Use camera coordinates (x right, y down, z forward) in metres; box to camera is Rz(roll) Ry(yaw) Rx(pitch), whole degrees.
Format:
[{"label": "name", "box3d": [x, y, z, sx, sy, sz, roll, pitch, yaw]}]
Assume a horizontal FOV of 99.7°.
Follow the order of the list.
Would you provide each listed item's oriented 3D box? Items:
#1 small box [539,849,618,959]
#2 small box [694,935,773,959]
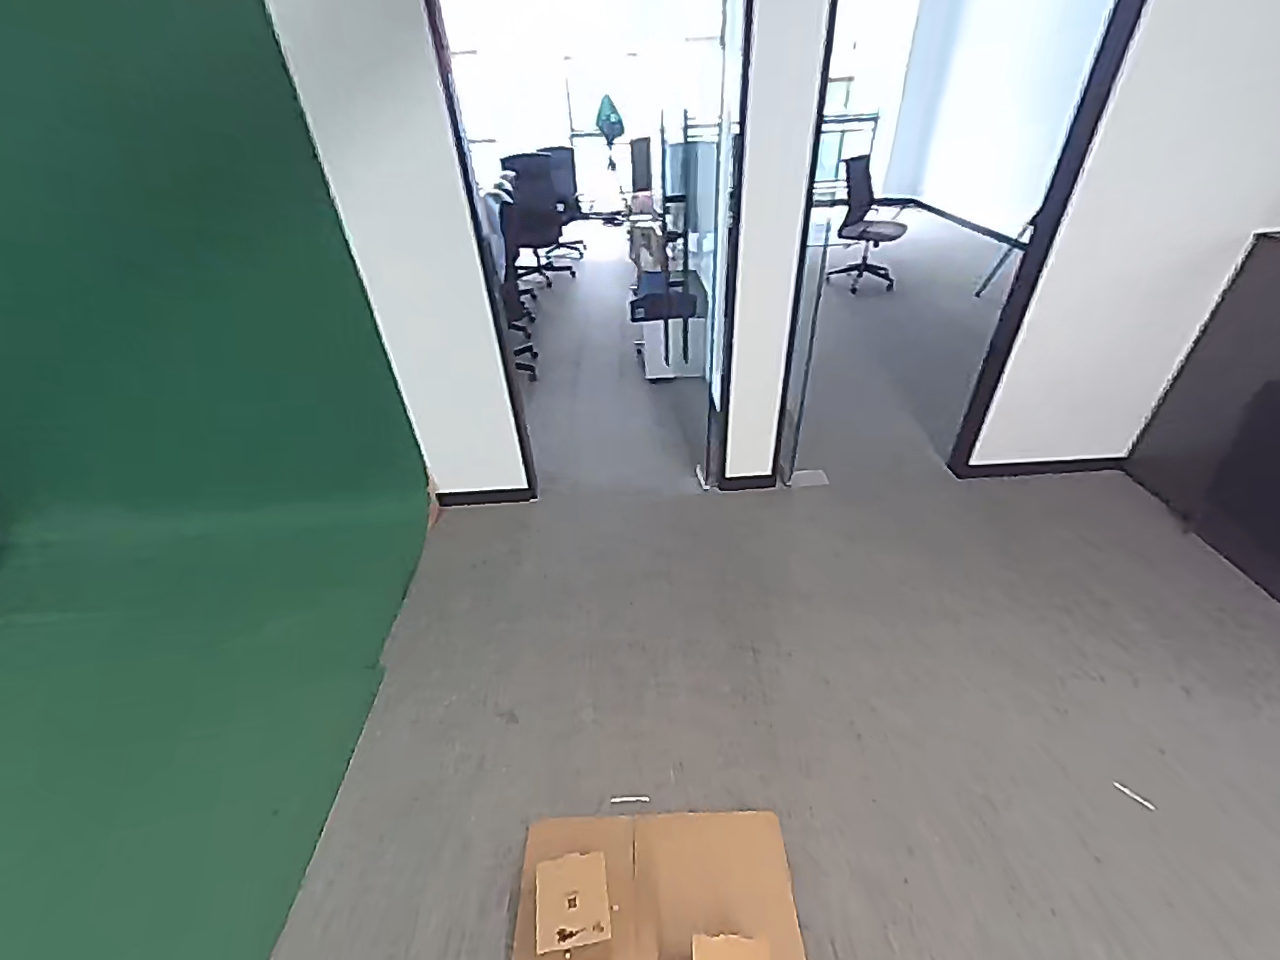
[{"label": "small box", "box3d": [-0.145, 1.016, 1.277, 0.168, 0.176, 0.179, -7, 36, -5]}, {"label": "small box", "box3d": [0.198, 1.097, 1.139, 0.168, 0.176, 0.179, -1, 36, 4]}]
